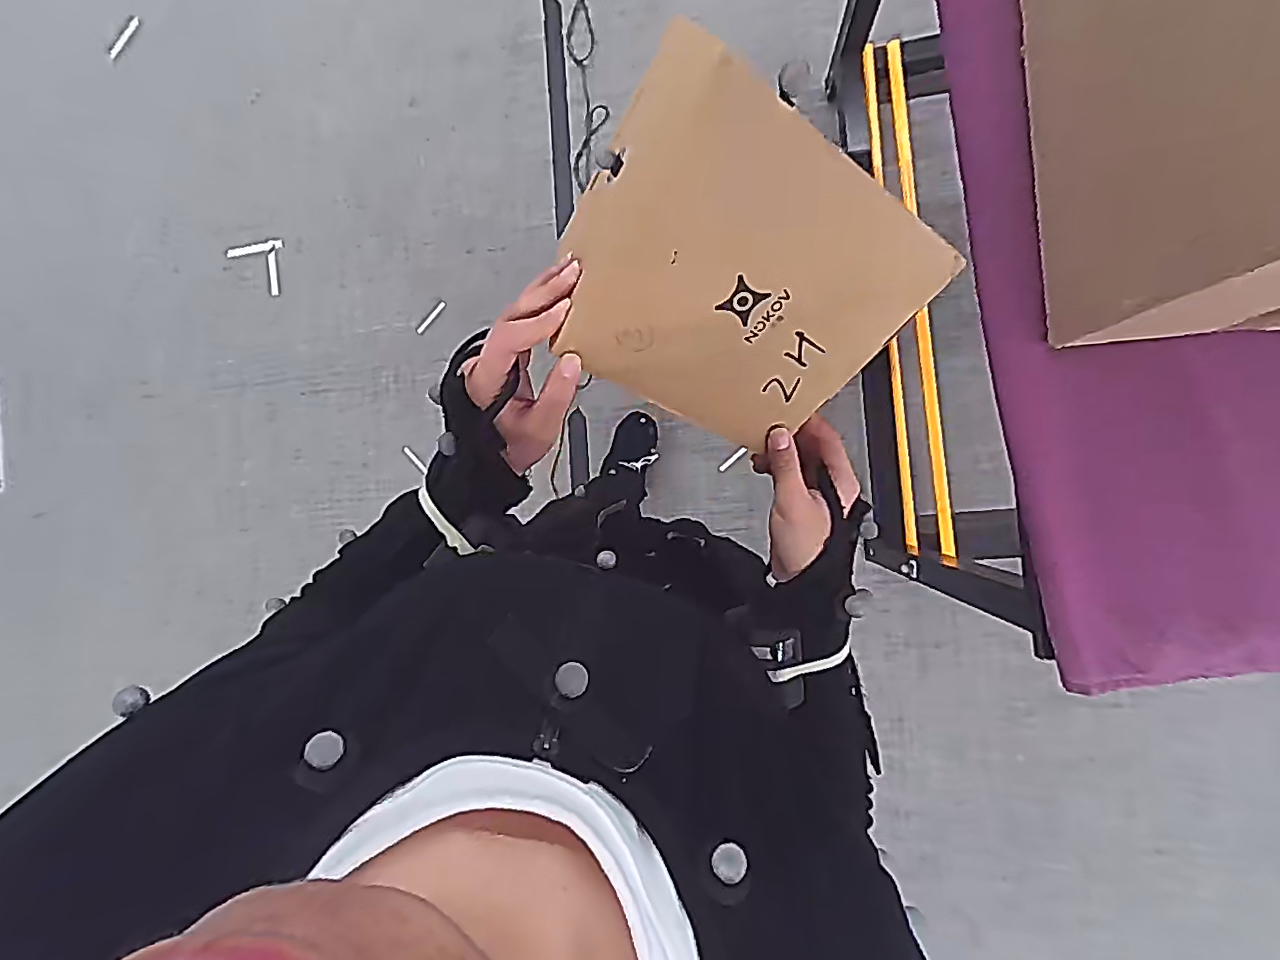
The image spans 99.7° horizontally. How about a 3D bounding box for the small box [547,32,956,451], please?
[{"bbox_3d":[0.055,-0.156,0.363,0.179,0.176,0.168,23,129,-25],"label":"small box"}]
